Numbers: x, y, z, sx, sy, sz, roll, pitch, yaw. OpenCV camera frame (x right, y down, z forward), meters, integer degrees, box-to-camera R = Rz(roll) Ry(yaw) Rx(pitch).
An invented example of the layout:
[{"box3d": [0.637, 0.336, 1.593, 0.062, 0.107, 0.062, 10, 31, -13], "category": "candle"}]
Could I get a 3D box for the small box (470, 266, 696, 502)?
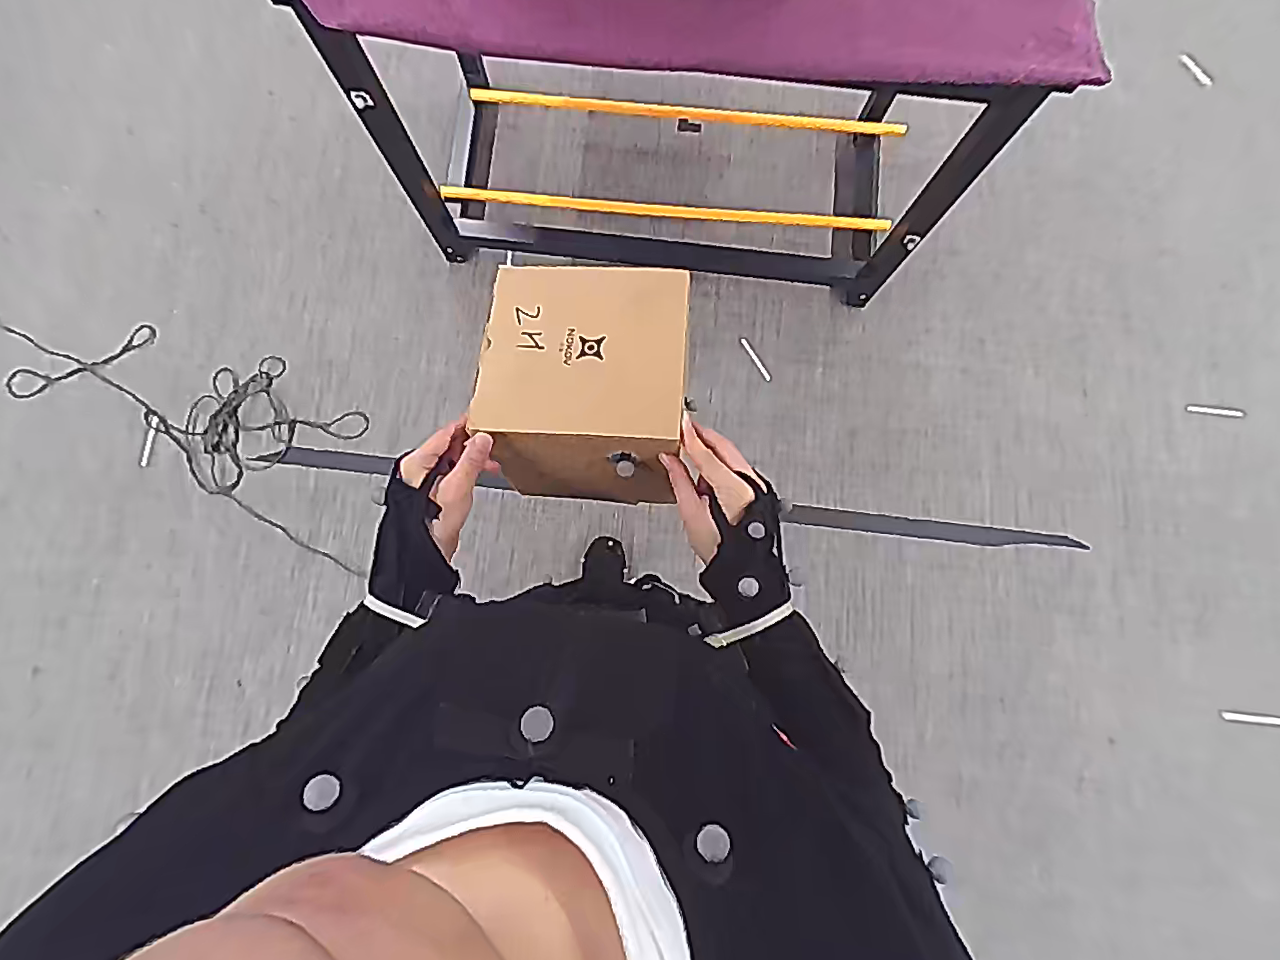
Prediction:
[{"box3d": [-0.040, -0.083, 0.529, 0.179, 0.176, 0.168, 3, 69, 6], "category": "small box"}]
